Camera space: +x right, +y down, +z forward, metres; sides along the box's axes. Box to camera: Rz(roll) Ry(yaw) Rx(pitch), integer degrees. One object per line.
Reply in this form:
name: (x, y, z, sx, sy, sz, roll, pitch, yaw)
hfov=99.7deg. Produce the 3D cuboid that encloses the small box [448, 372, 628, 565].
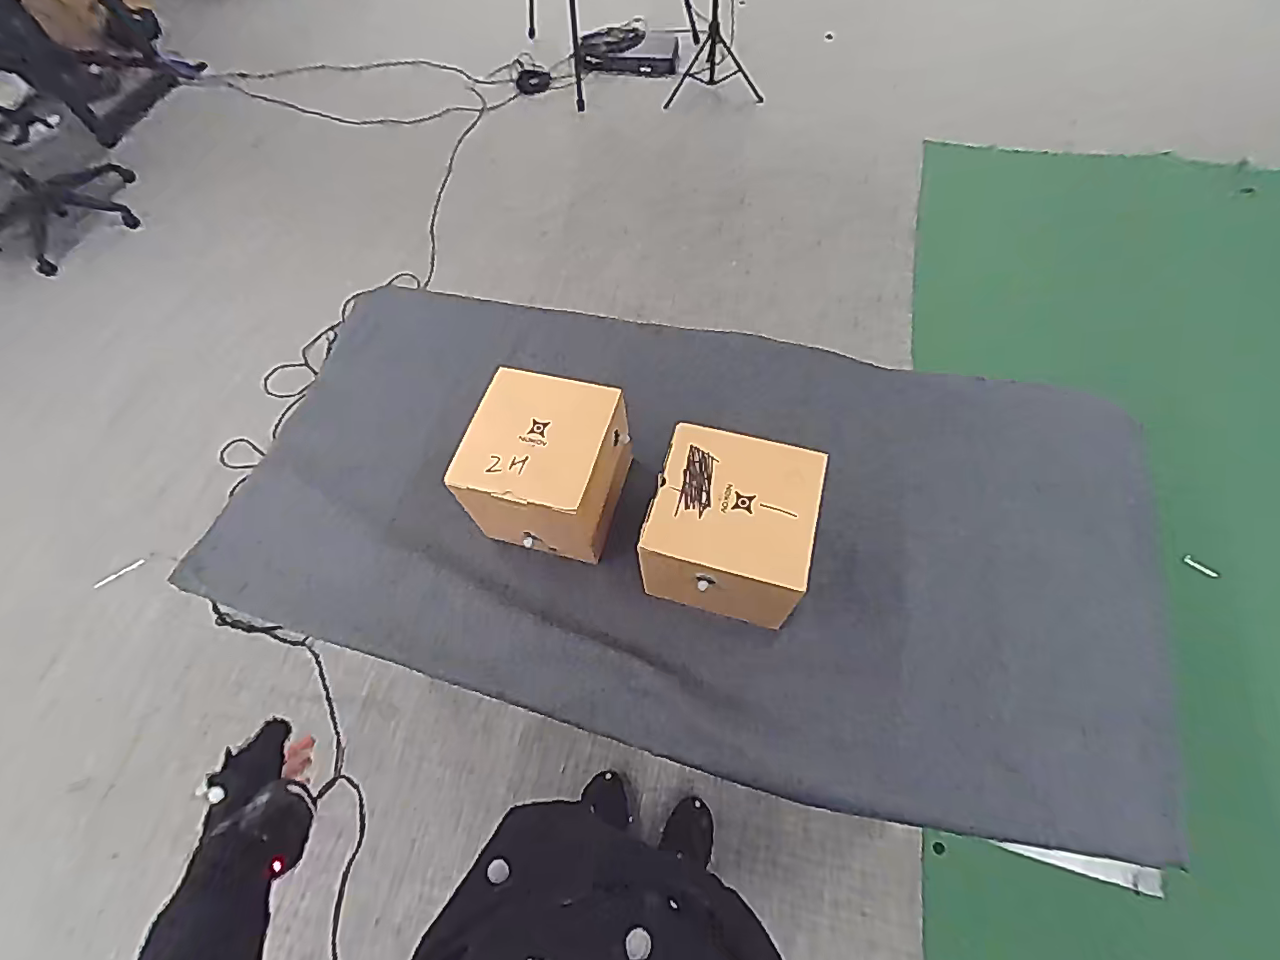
small box: (-0.117, -0.010, 0.713, 0.168, 0.176, 0.179, 12, 63, 11)
